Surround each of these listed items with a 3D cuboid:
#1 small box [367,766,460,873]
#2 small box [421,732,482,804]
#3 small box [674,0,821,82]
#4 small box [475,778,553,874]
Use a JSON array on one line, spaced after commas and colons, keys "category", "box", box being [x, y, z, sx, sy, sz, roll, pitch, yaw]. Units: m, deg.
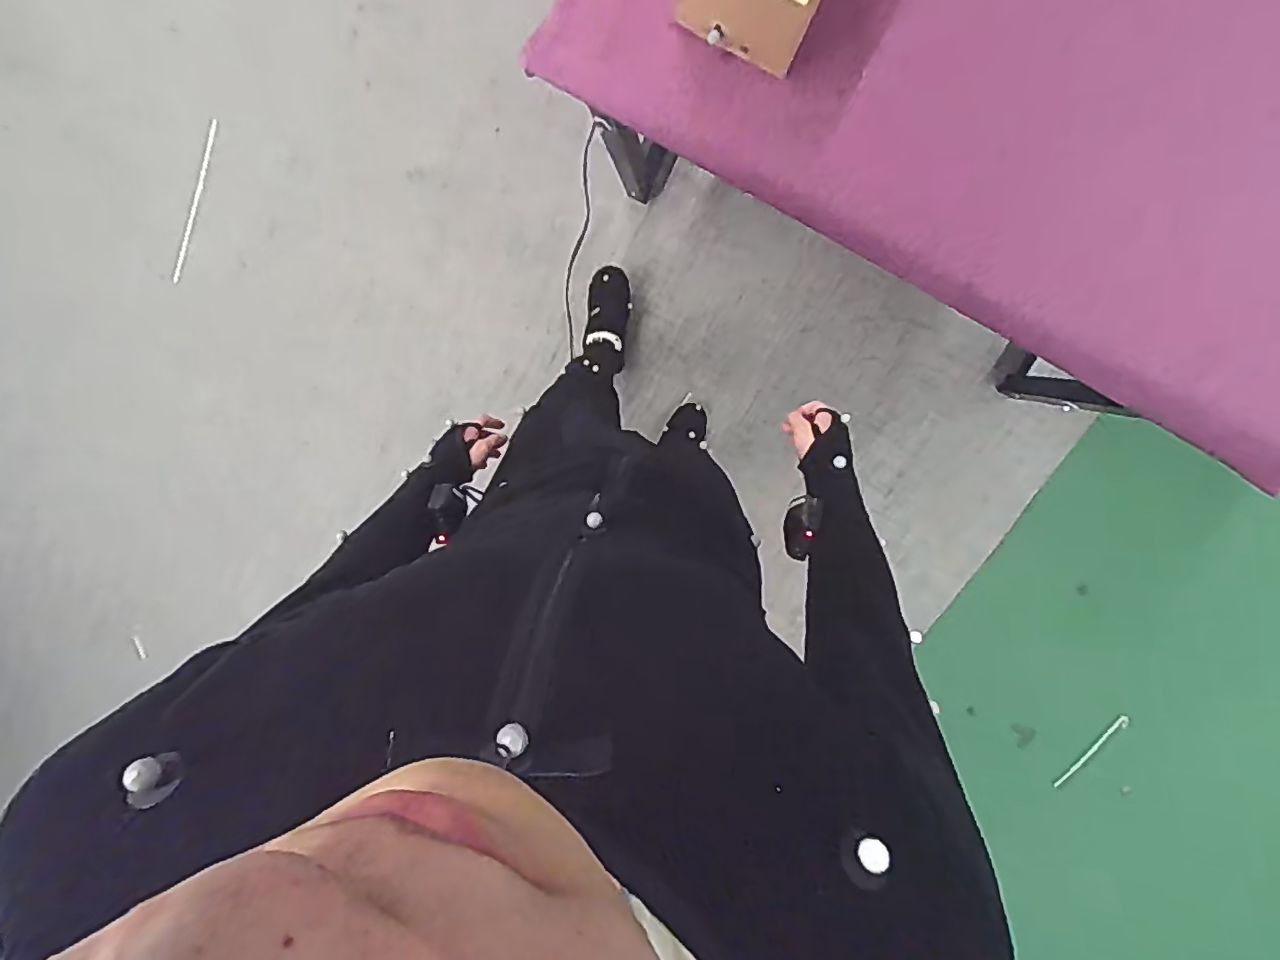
[{"category": "small box", "box": [-0.674, 1.018, 1.630, 0.168, 0.176, 0.179, 35, 105, -3]}, {"category": "small box", "box": [-0.652, 0.985, 1.790, 0.168, 0.176, 0.179, 34, 104, -3]}, {"category": "small box", "box": [0.143, -0.622, 0.628, 0.168, 0.176, 0.179, 27, 105, 0]}, {"category": "small box", "box": [-0.412, 1.148, 1.803, 0.168, 0.176, 0.179, 33, 106, -2]}]
